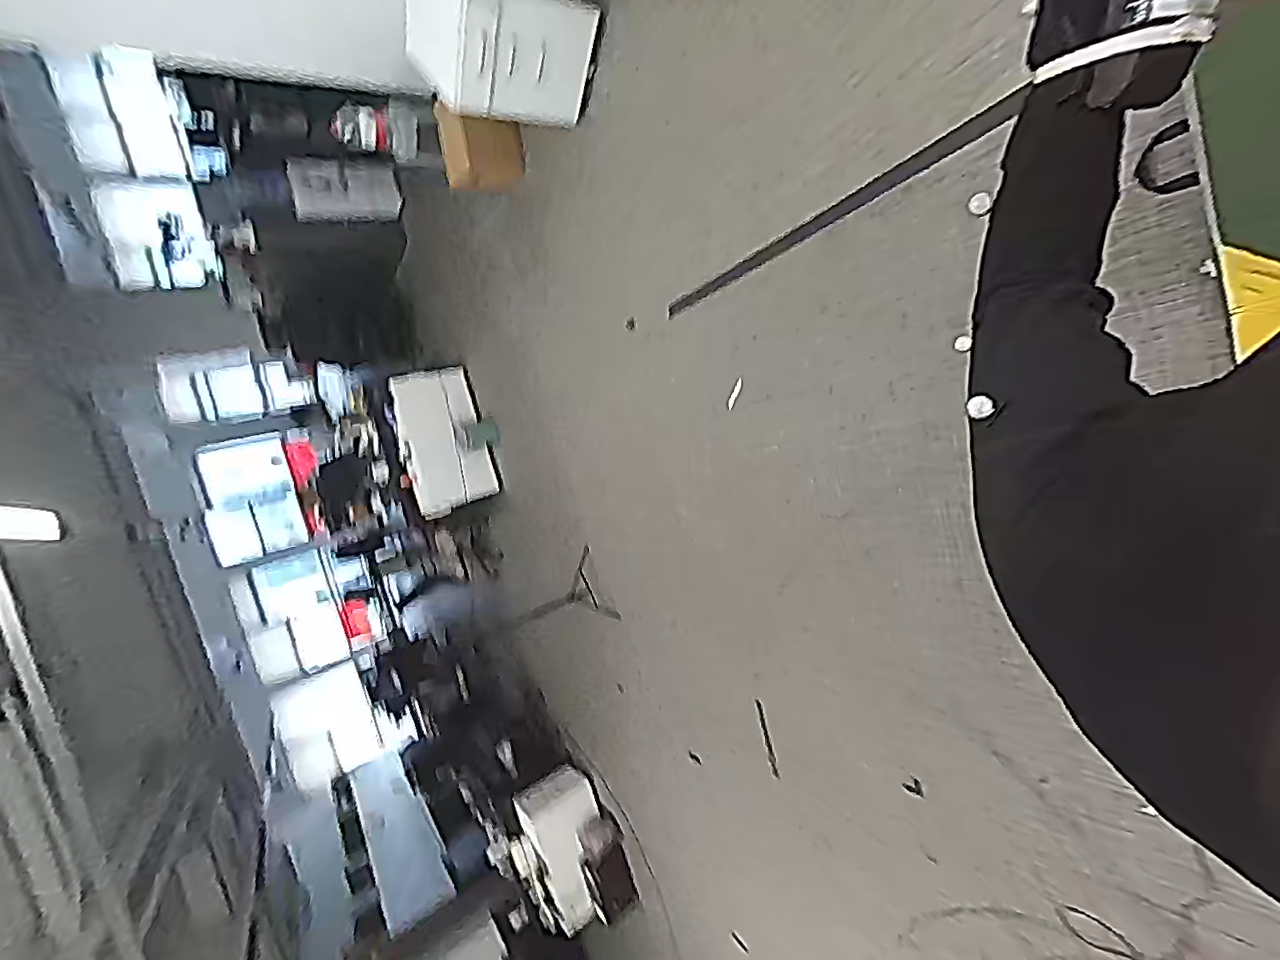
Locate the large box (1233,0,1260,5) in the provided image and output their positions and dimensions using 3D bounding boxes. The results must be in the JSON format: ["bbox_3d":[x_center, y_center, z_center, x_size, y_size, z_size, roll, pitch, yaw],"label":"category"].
[{"bbox_3d":[0.512,-0.516,0.227,0.408,0.320,0.320,1,116,54],"label":"large box"}]
